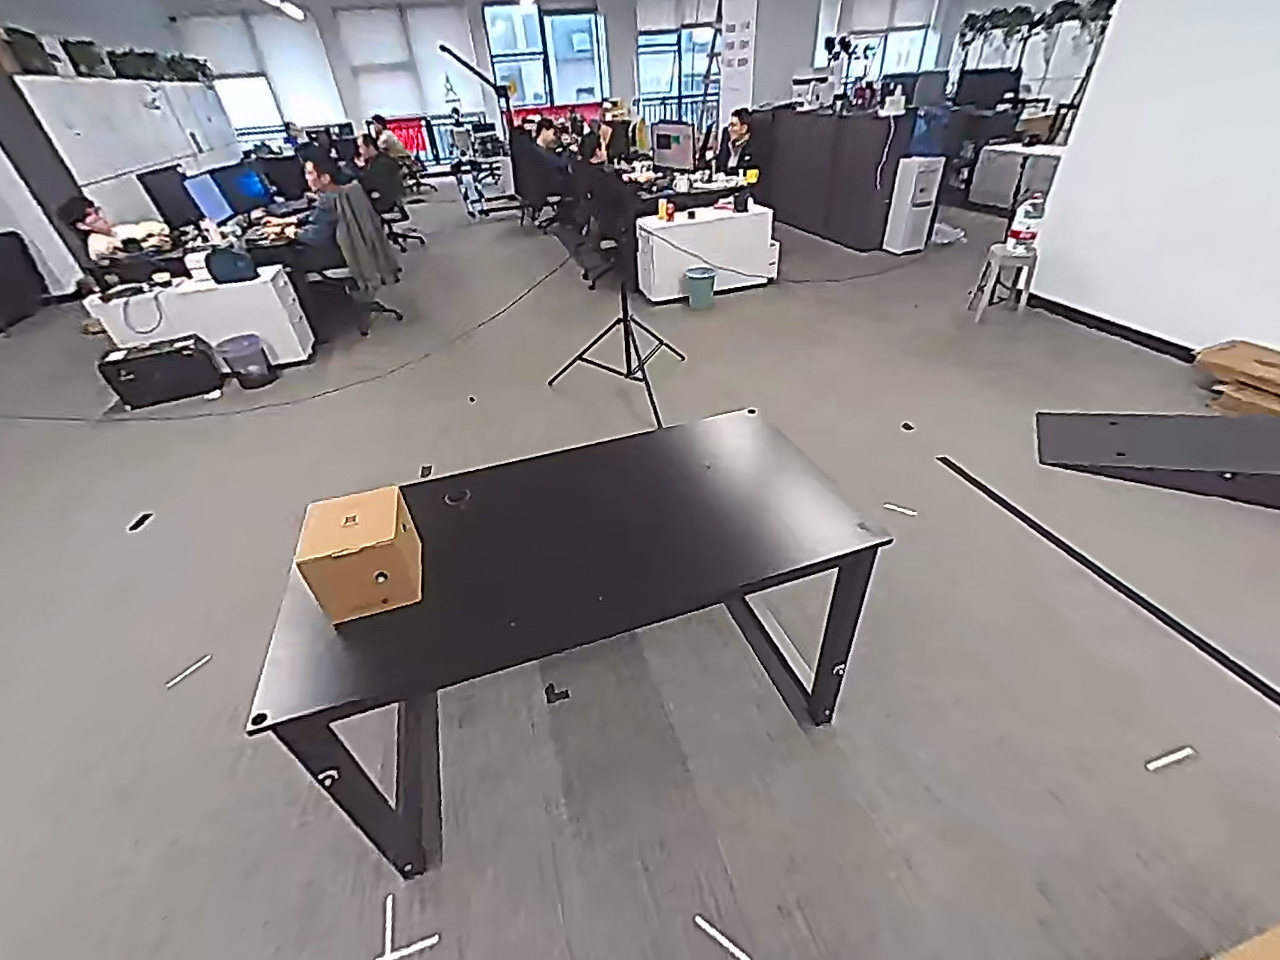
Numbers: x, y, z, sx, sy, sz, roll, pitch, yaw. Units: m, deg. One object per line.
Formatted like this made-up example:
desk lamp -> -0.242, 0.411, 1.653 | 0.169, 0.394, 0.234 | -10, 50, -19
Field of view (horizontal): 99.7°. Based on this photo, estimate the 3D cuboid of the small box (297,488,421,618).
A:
small box -> -0.534, 0.146, 1.055 | 0.168, 0.176, 0.179 | -13, 36, -13
